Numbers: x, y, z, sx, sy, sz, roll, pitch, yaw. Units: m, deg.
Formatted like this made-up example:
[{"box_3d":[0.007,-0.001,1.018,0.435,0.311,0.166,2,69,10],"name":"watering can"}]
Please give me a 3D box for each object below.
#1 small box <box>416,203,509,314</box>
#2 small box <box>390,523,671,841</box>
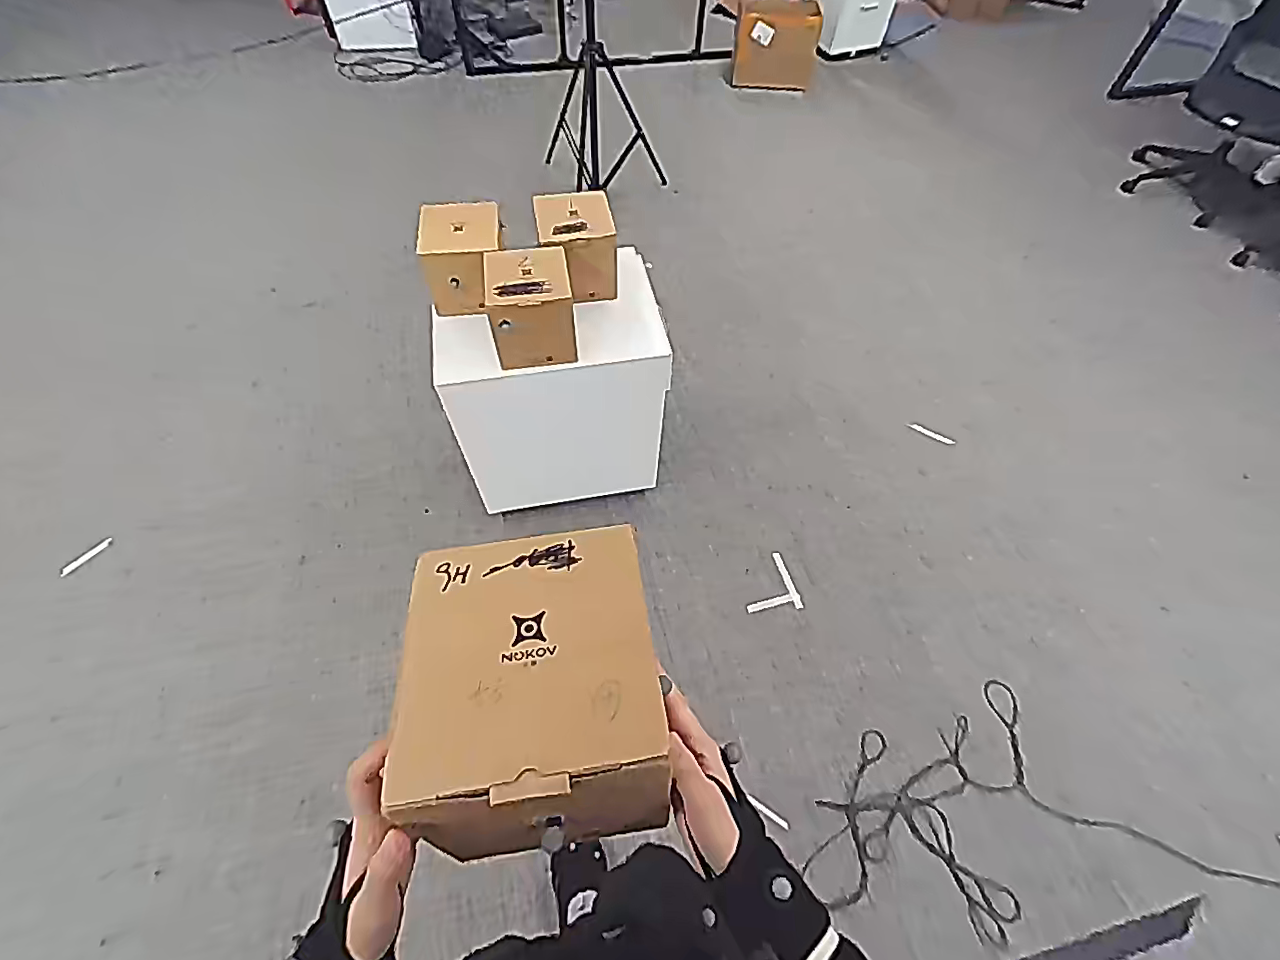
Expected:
[{"box_3d":[-0.390,-0.490,1.214,0.168,0.176,0.179,-6,58,-7],"name":"small box"},{"box_3d":[-0.069,0.161,0.419,0.168,0.176,0.179,-7,48,-5],"name":"small box"}]
